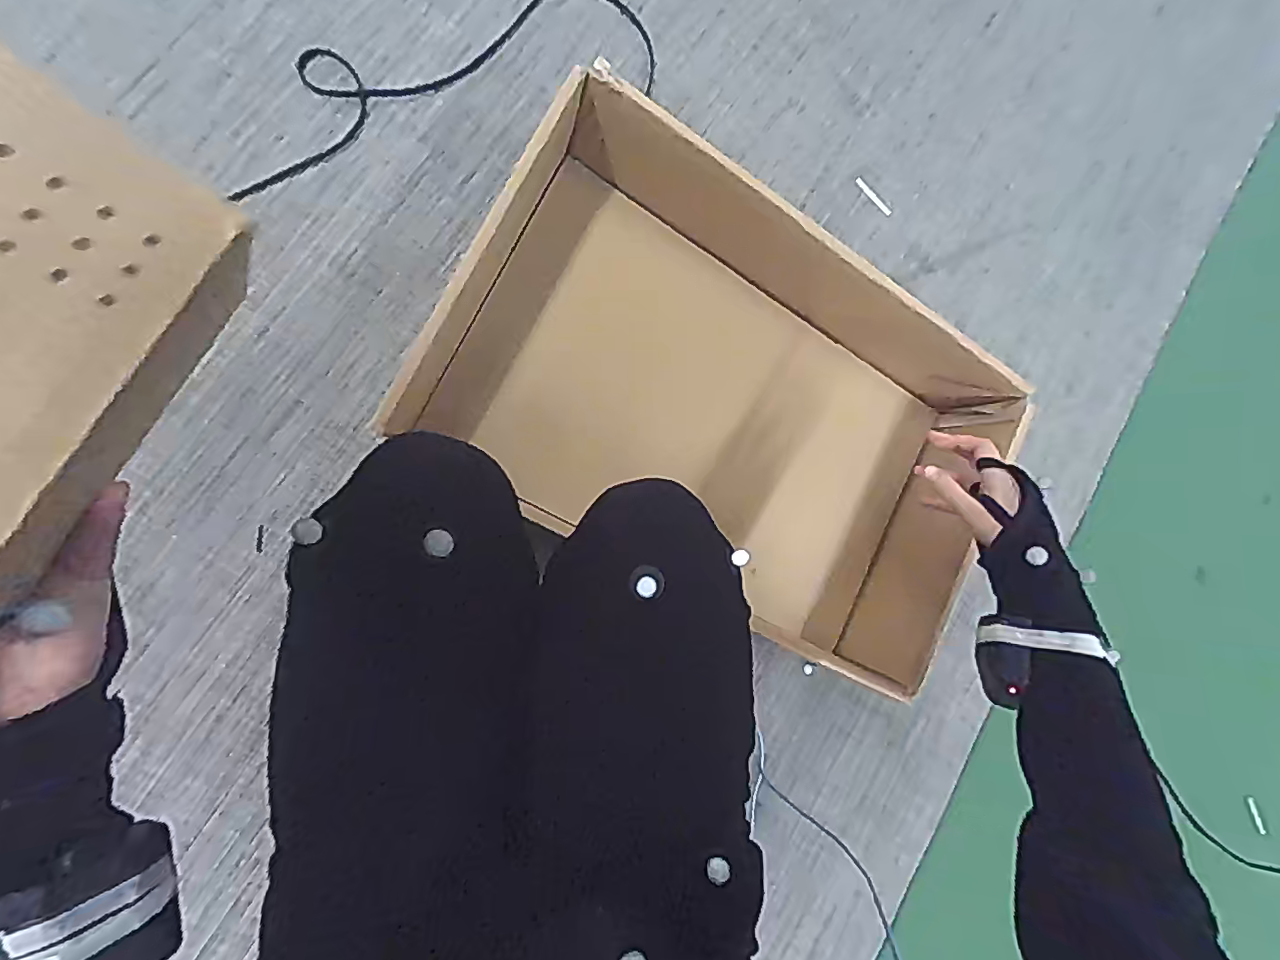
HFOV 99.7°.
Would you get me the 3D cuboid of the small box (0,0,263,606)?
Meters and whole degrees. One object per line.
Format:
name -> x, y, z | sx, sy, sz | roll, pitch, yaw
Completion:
small box -> -0.210, -0.042, 0.109 | 0.168, 0.179, 0.176 | 36, 77, -36
